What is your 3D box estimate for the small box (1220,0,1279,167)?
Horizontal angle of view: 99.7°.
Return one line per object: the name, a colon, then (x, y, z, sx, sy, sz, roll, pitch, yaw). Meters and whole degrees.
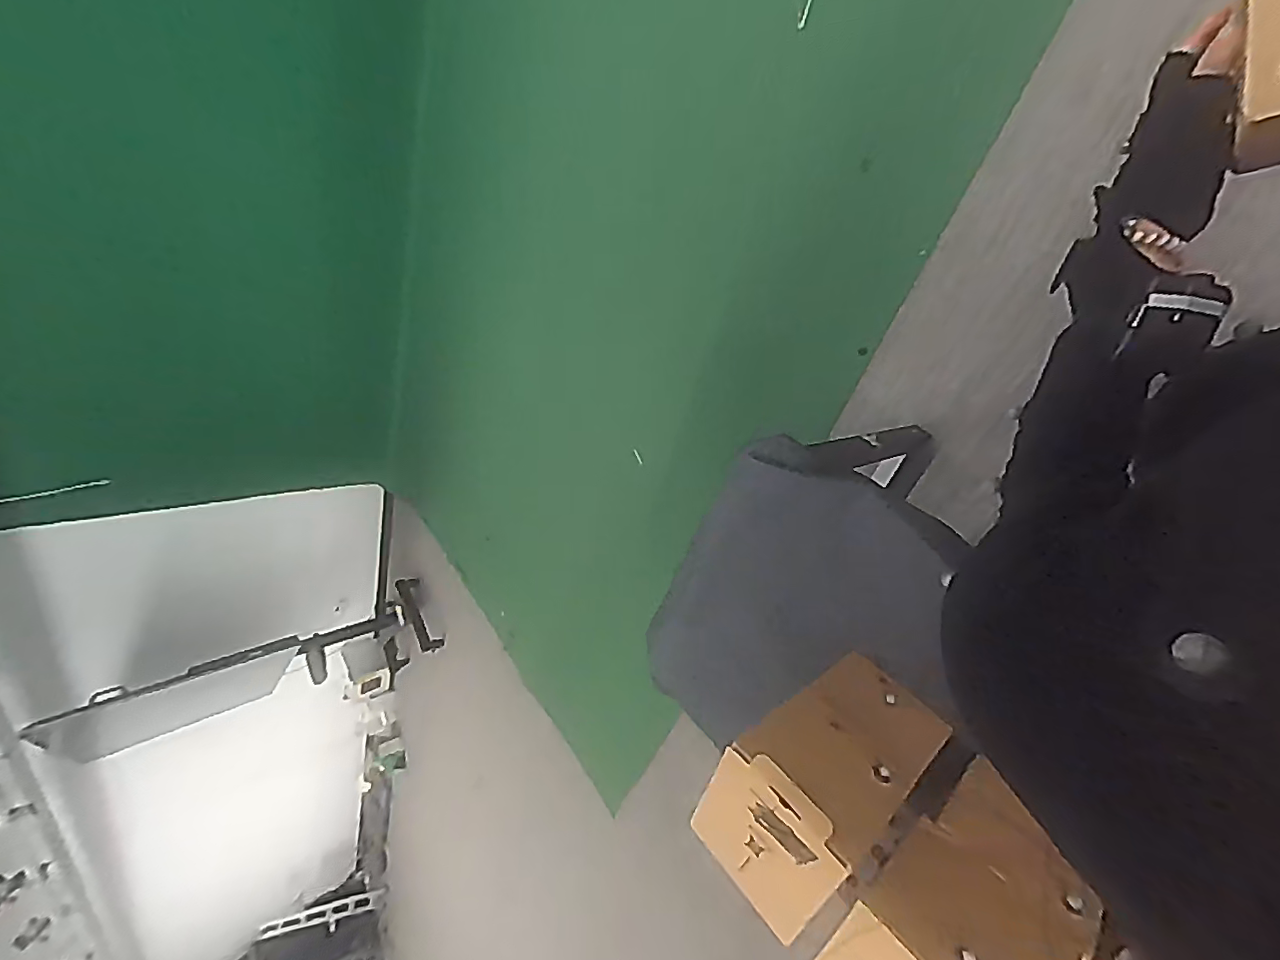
small box: (0.455, -0.301, 0.295, 0.179, 0.176, 0.168, 3, 103, 45)
